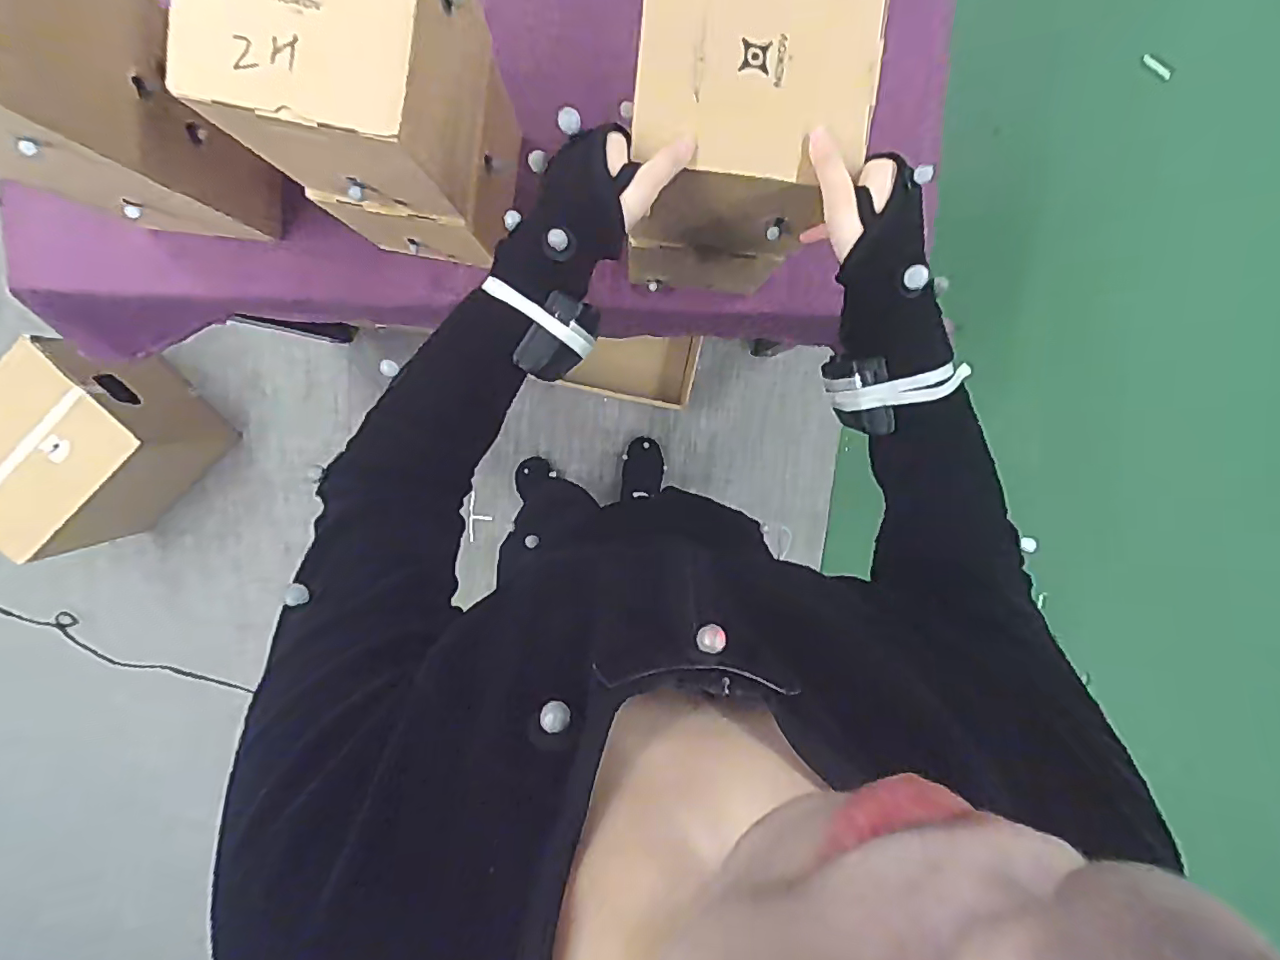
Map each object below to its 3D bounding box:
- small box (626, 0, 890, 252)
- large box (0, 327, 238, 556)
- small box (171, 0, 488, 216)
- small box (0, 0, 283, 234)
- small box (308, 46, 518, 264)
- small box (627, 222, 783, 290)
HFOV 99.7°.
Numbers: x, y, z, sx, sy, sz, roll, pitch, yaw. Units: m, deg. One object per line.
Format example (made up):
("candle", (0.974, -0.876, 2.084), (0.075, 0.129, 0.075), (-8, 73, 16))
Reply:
("small box", (0.084, -0.311, 0.468), (0.179, 0.176, 0.168), (7, 96, -2))
("large box", (-1.309, -0.093, 1.295), (0.408, 0.320, 0.320), (-43, 97, 3))
("small box", (-0.237, -0.354, 0.455), (0.168, 0.176, 0.179), (11, 98, -2))
("small box", (-0.540, -0.391, 0.607), (0.179, 0.176, 0.168), (5, 98, -2))
("small box", (-0.243, -0.369, 0.619), (0.168, 0.176, 0.179), (10, 98, -3))
("small box", (0.076, -0.331, 0.630), (0.168, 0.176, 0.179), (5, 97, -2))
